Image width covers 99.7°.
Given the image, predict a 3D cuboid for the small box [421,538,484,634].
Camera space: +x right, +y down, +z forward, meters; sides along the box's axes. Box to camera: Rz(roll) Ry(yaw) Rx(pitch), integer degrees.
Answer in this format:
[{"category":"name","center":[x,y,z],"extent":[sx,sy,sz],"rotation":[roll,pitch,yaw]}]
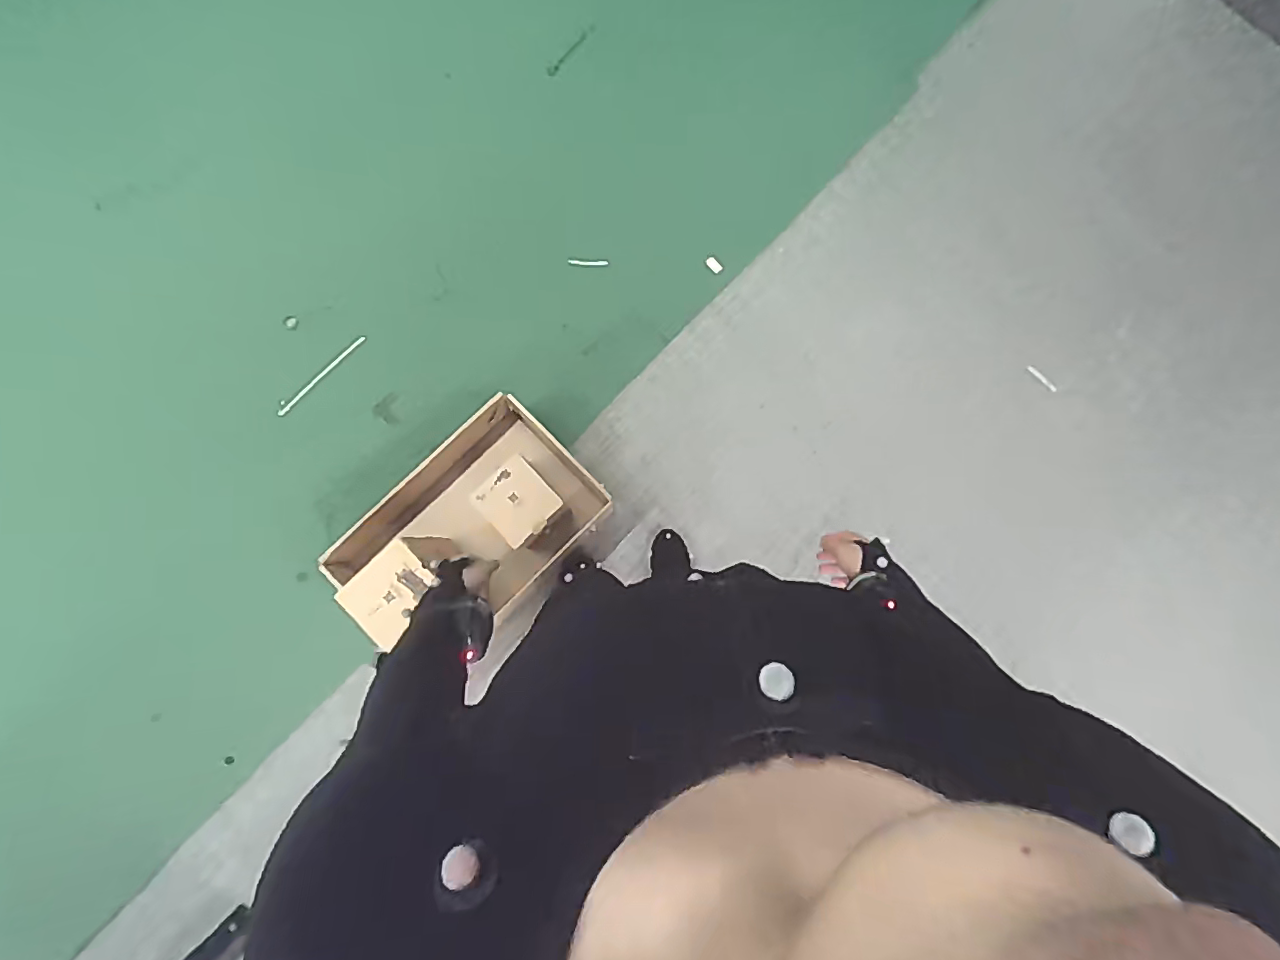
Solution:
[{"category":"small box","center":[-0.508,0.260,1.319],"extent":[0.168,0.176,0.179],"rotation":[45,82,2]}]

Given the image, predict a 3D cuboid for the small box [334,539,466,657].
[{"category":"small box","center":[-0.496,0.242,1.156],"extent":[0.179,0.176,0.168],"rotation":[-44,87,-7]}]

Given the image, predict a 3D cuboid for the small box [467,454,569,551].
[{"category":"small box","center":[-0.295,0.058,1.357],"extent":[0.168,0.176,0.179],"rotation":[-43,88,-6]}]
